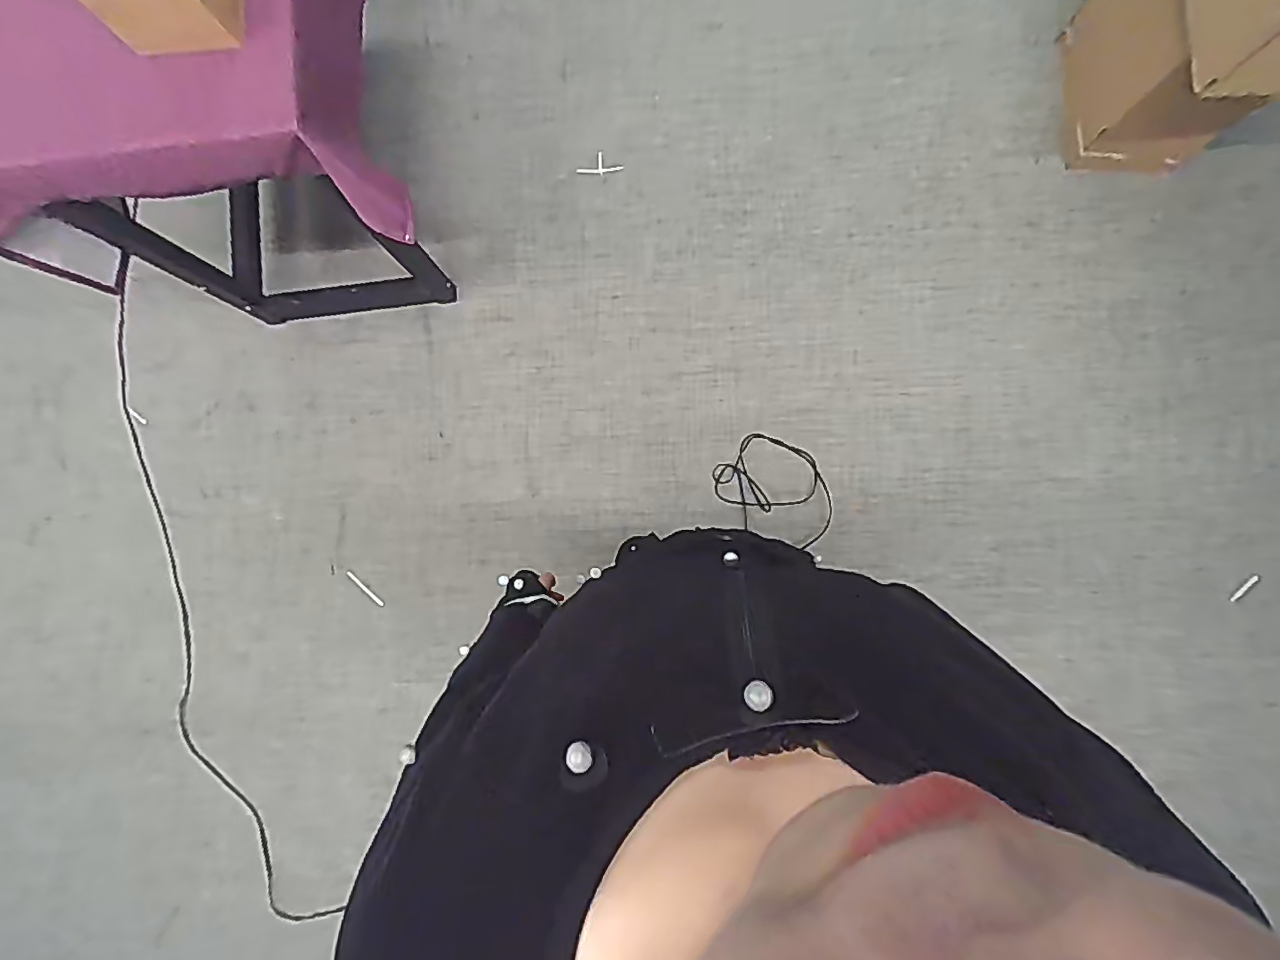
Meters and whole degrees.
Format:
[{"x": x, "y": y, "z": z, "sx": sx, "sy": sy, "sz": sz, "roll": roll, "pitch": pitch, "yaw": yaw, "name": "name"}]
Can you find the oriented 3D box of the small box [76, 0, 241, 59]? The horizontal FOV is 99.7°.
[{"x": -0.739, "y": -0.780, "z": 0.812, "sx": 0.179, "sy": 0.176, "sz": 0.168, "roll": -3, "pitch": 84, "yaw": 3, "name": "small box"}]
